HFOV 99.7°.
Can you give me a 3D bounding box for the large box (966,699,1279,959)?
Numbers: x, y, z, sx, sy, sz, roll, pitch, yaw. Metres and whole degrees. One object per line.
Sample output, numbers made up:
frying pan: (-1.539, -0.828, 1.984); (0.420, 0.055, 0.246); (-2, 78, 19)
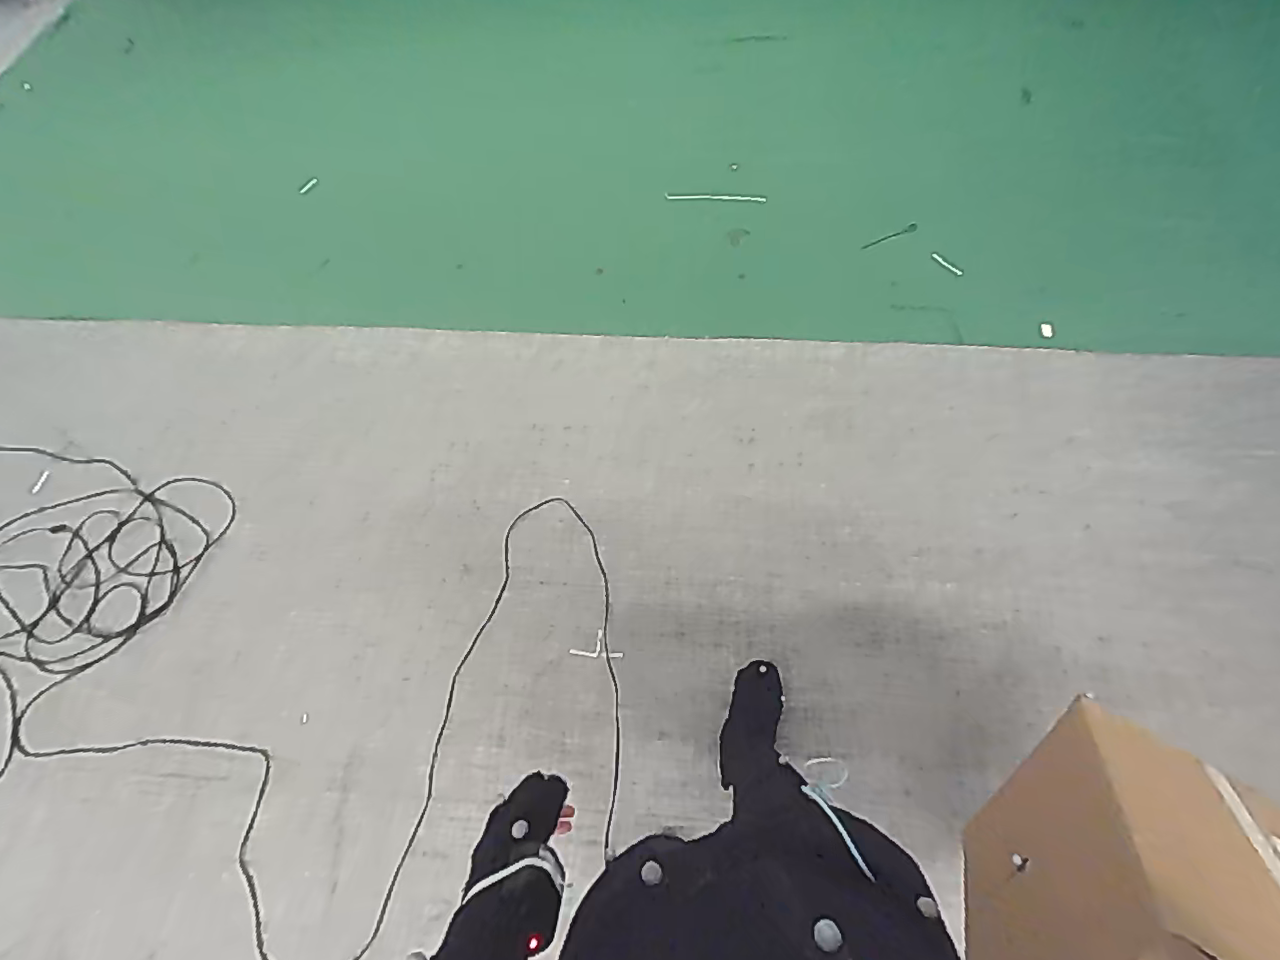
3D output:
large box: (0.622, 0.558, 0.631); (0.320, 0.408, 0.320); (31, 113, 21)
